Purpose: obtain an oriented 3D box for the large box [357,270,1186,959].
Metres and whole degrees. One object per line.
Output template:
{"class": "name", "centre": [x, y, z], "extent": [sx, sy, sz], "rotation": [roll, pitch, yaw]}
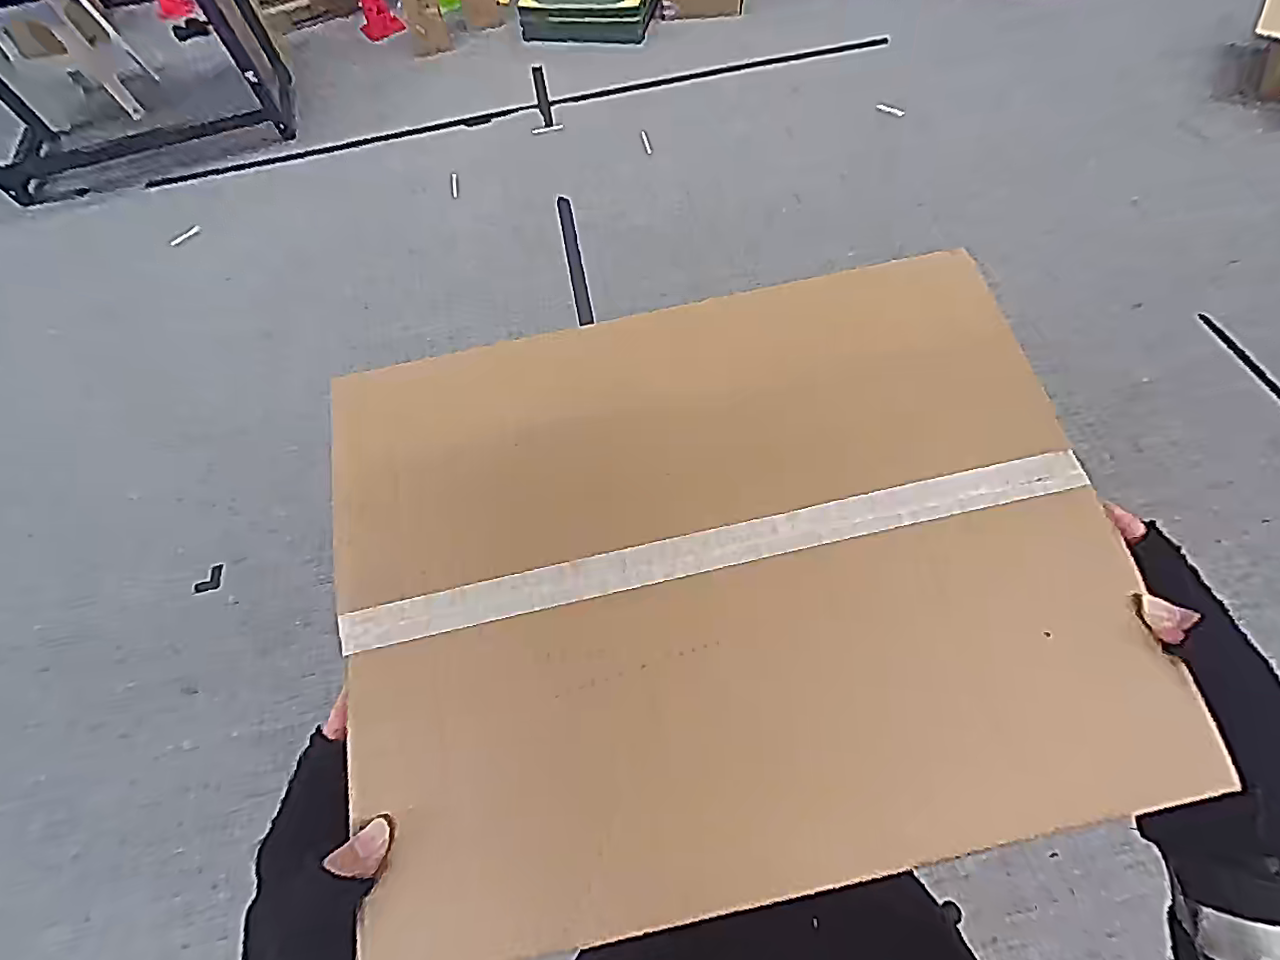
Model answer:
{"class": "large box", "centre": [0.049, 0.092, 0.445], "extent": [0.408, 0.320, 0.320], "rotation": [-13, 72, -2]}
